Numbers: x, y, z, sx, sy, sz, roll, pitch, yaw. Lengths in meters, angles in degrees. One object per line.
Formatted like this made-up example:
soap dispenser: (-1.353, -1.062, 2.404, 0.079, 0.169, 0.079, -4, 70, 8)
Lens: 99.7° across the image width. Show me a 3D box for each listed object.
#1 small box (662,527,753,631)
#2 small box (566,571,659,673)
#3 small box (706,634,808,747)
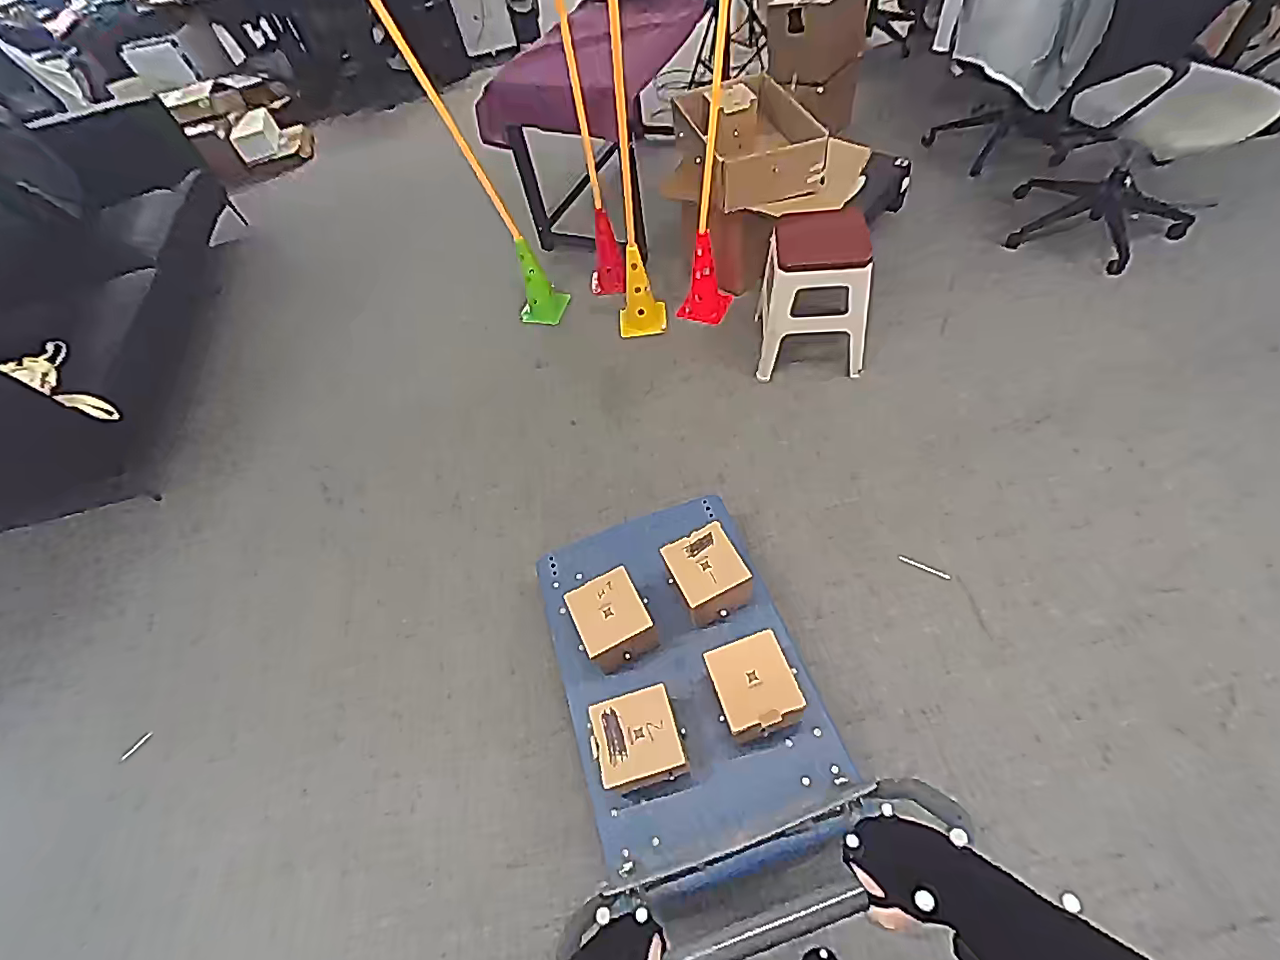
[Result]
small box: (0.172, 0.256, 1.379, 0.168, 0.176, 0.179, -26, 57, -6)
small box: (-0.063, 0.363, 1.350, 0.168, 0.176, 0.179, -26, 56, -8)
small box: (0.257, 0.478, 1.219, 0.168, 0.176, 0.179, -20, 56, -3)
